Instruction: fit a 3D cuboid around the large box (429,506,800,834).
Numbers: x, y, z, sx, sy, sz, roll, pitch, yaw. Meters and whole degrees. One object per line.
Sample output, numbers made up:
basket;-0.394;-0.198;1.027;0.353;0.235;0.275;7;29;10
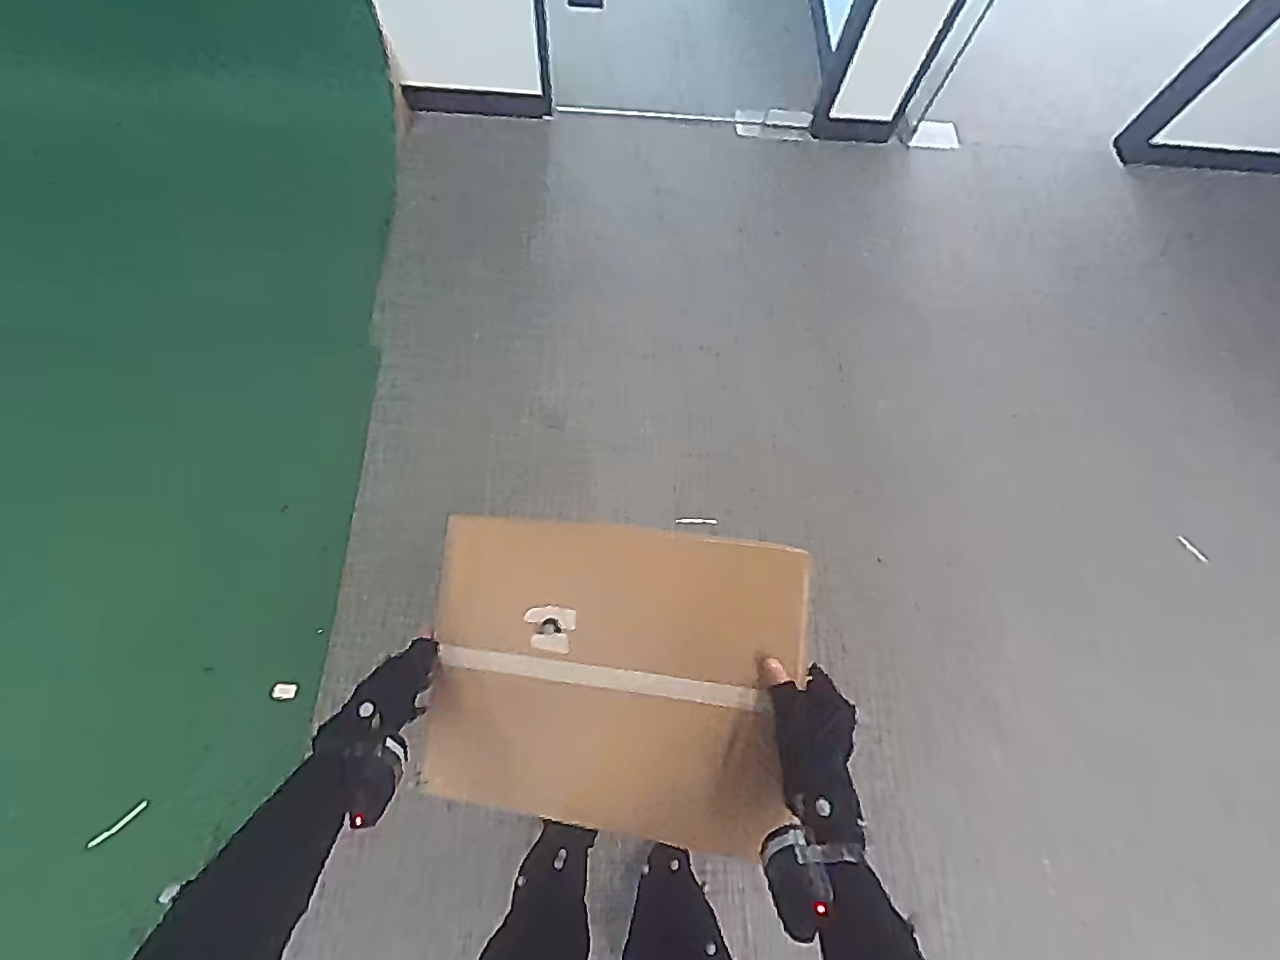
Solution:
large box;-0.008;0.207;0.739;0.408;0.320;0.320;5;86;11
